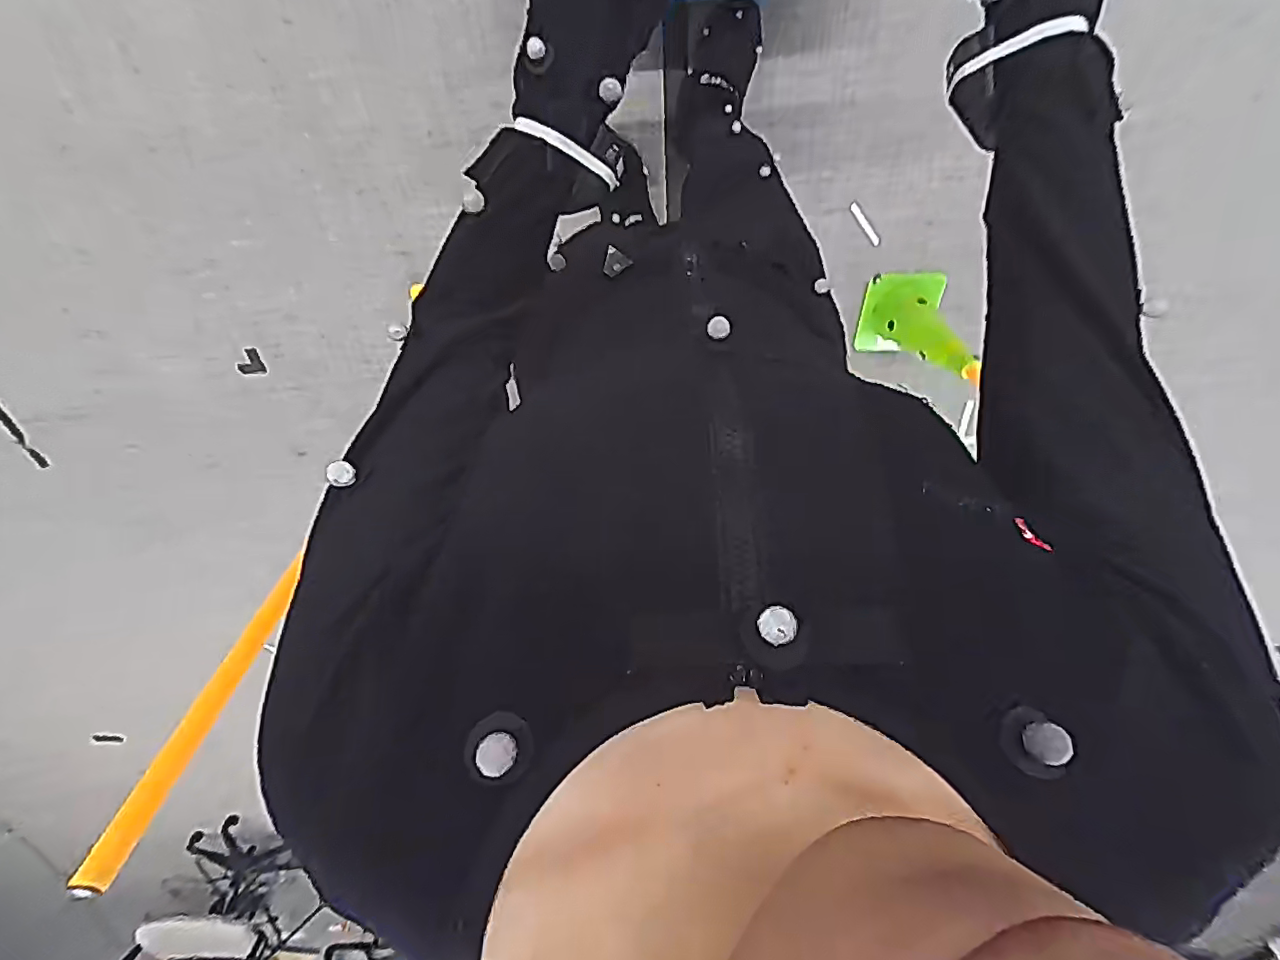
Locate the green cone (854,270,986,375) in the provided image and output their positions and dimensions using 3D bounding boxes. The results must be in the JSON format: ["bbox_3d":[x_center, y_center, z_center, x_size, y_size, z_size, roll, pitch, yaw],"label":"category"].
[{"bbox_3d":[0.683,-0.339,1.268,0.202,0.368,0.200,-2,127,-3],"label":"green cone"}]
